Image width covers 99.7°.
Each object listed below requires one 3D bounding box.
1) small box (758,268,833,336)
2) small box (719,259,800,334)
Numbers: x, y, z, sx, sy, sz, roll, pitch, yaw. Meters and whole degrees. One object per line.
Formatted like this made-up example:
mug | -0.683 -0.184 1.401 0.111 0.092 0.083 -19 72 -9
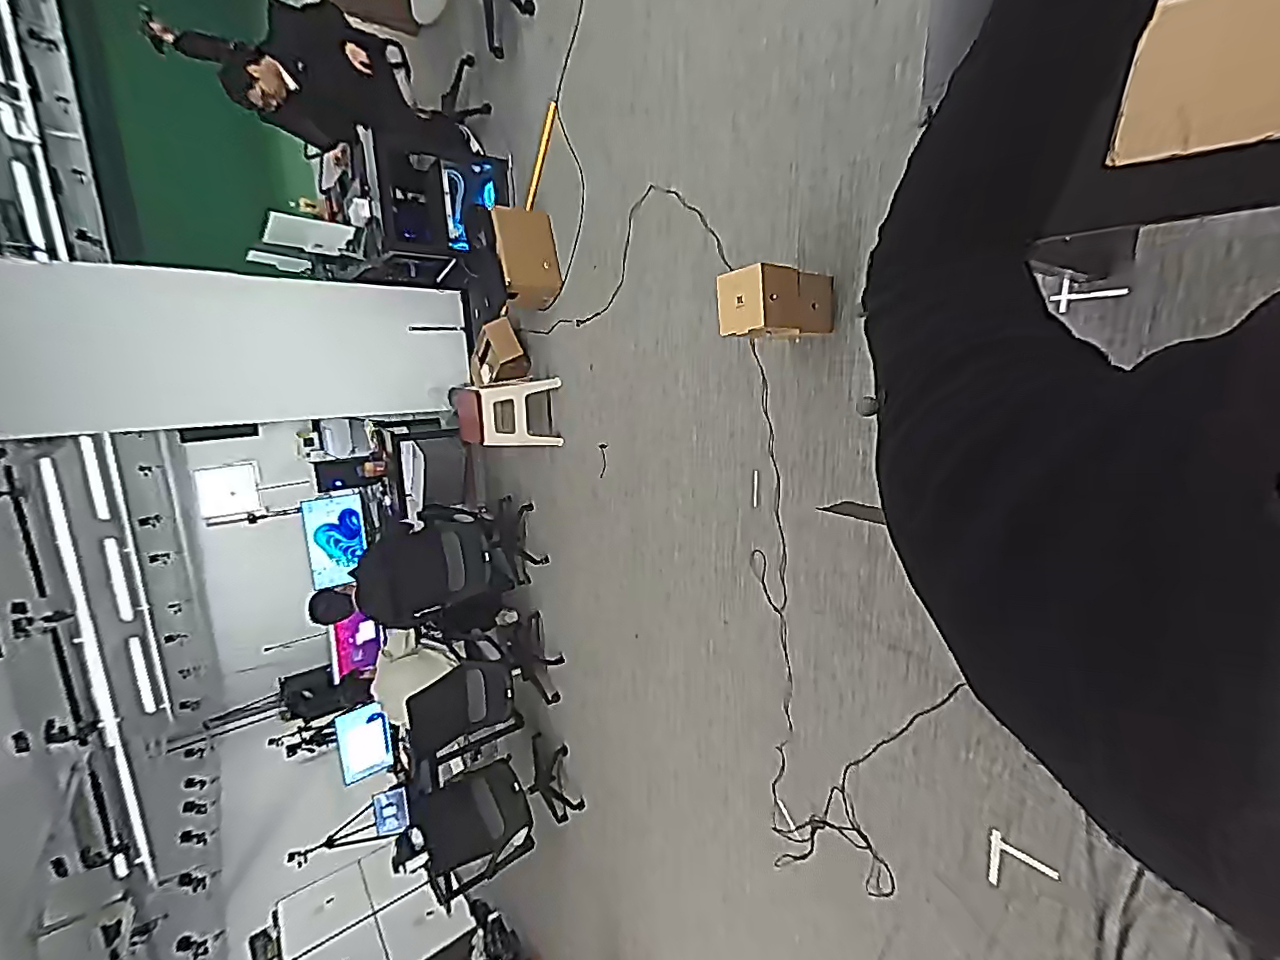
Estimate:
small box | 0.479 -0.544 1.671 0.168 0.176 0.179 9 106 52
small box | 0.350 -0.526 1.572 0.168 0.176 0.179 5 101 52
